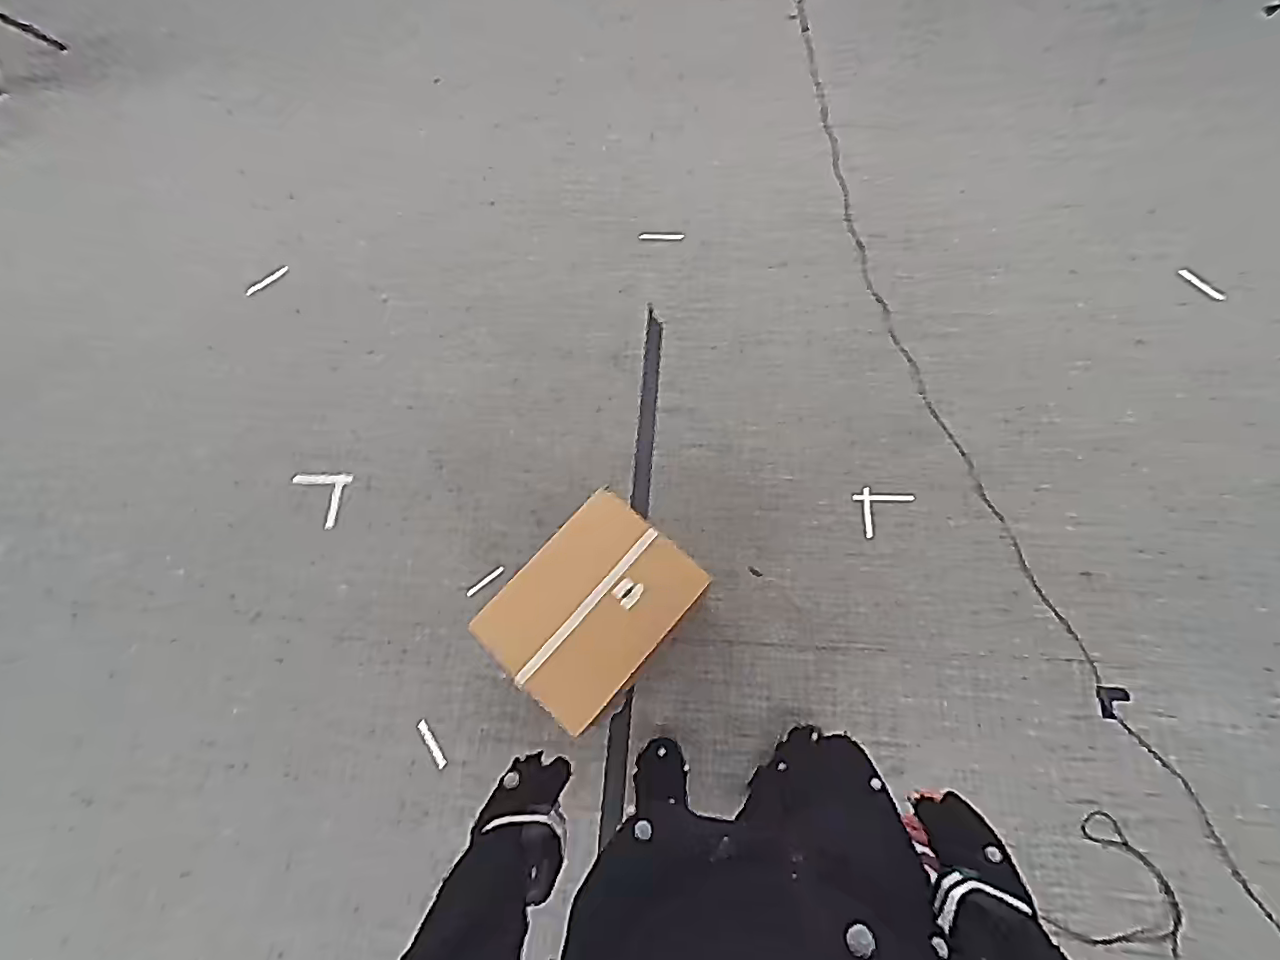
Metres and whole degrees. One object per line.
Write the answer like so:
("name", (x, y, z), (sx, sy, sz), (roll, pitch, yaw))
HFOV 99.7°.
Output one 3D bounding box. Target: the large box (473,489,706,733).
("large box", (-0.095, 0.304, 1.245), (0.320, 0.320, 0.408), (39, 76, 15))
